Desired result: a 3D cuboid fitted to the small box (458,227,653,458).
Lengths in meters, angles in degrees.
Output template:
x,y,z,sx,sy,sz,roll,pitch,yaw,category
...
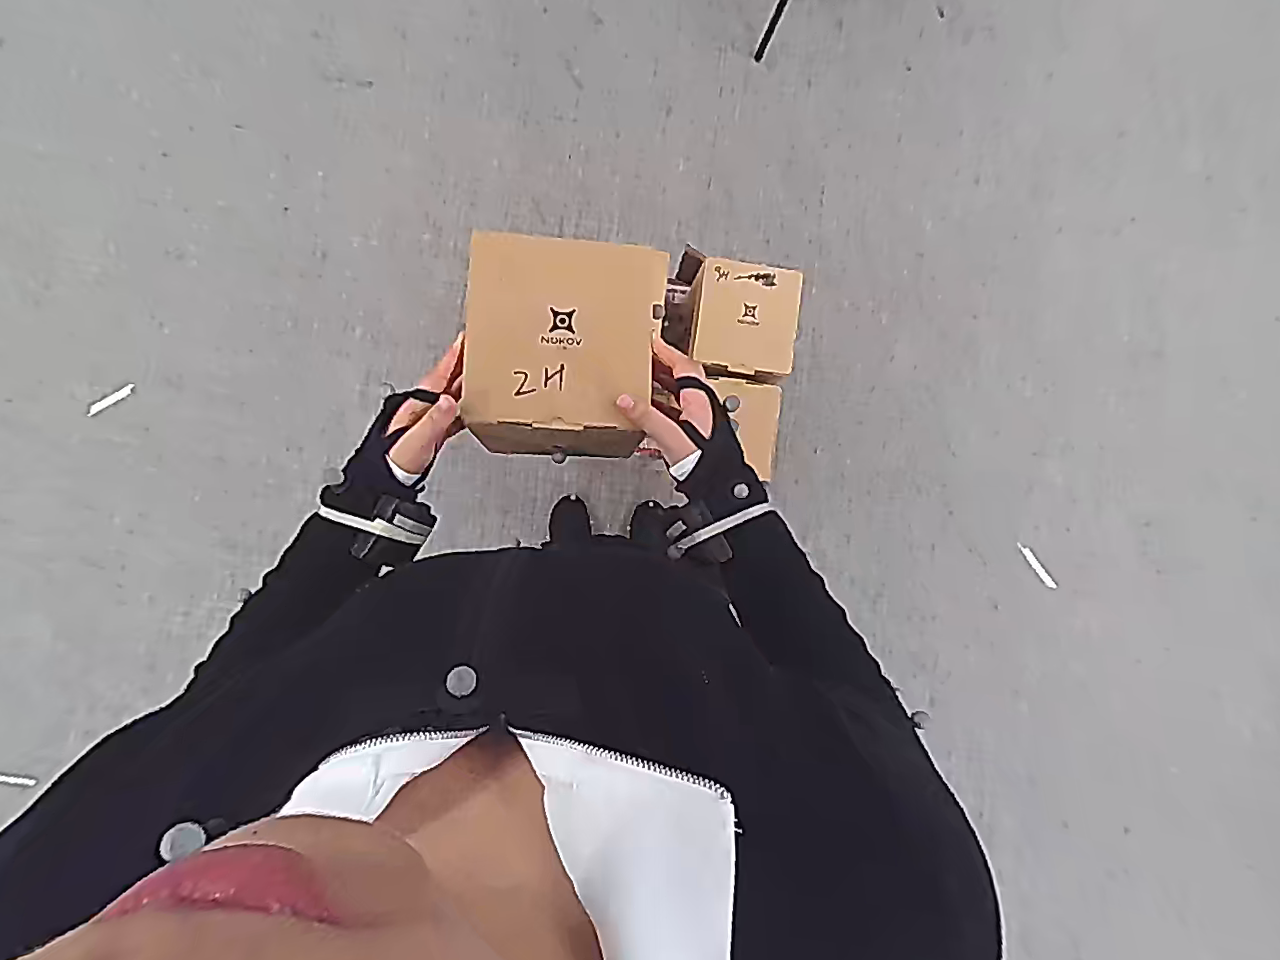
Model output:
x,y,z,sx,sy,sz,roll,pitch,yaw,category
-0.081,-0.125,0.553,0.168,0.176,0.179,2,83,-7,small box
